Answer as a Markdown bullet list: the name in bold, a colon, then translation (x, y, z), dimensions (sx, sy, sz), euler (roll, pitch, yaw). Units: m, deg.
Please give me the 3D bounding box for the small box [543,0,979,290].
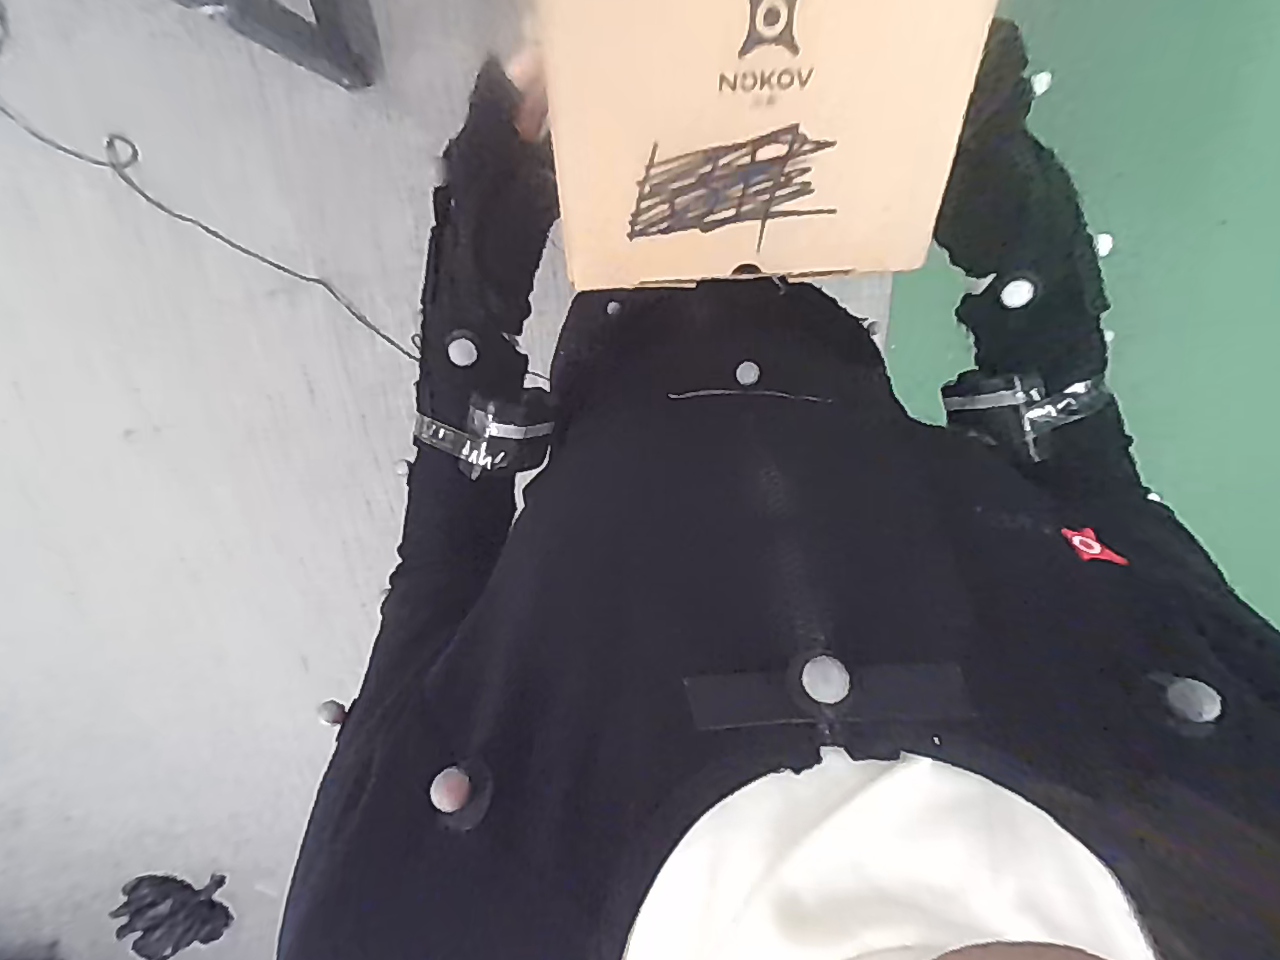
- **small box**: translation (0.043, -0.215, 0.276), dimensions (0.168, 0.176, 0.179), euler (-3, 130, -1)
